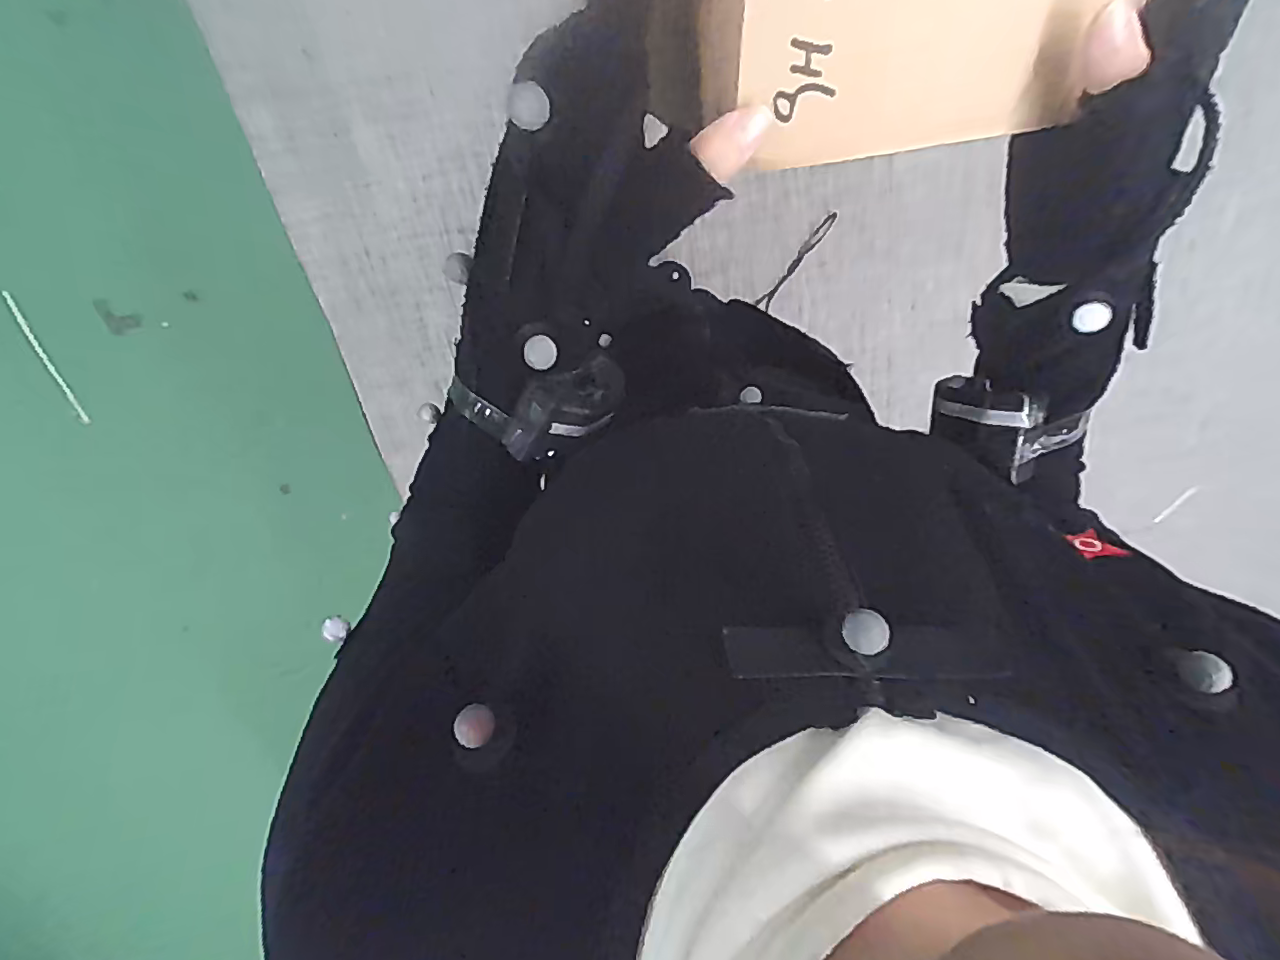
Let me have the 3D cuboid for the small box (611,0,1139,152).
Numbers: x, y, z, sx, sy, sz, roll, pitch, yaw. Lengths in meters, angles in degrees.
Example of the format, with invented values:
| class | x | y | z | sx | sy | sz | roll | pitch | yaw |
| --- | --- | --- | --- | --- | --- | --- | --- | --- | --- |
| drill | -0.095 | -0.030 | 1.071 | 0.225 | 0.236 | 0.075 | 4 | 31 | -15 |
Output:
| class | x | y | z | sx | sy | sz | roll | pitch | yaw |
| --- | --- | --- | --- | --- | --- | --- | --- | --- | --- |
| small box | 0.092 | -0.256 | 0.221 | 0.179 | 0.176 | 0.168 | -14 | 135 | -11 |
